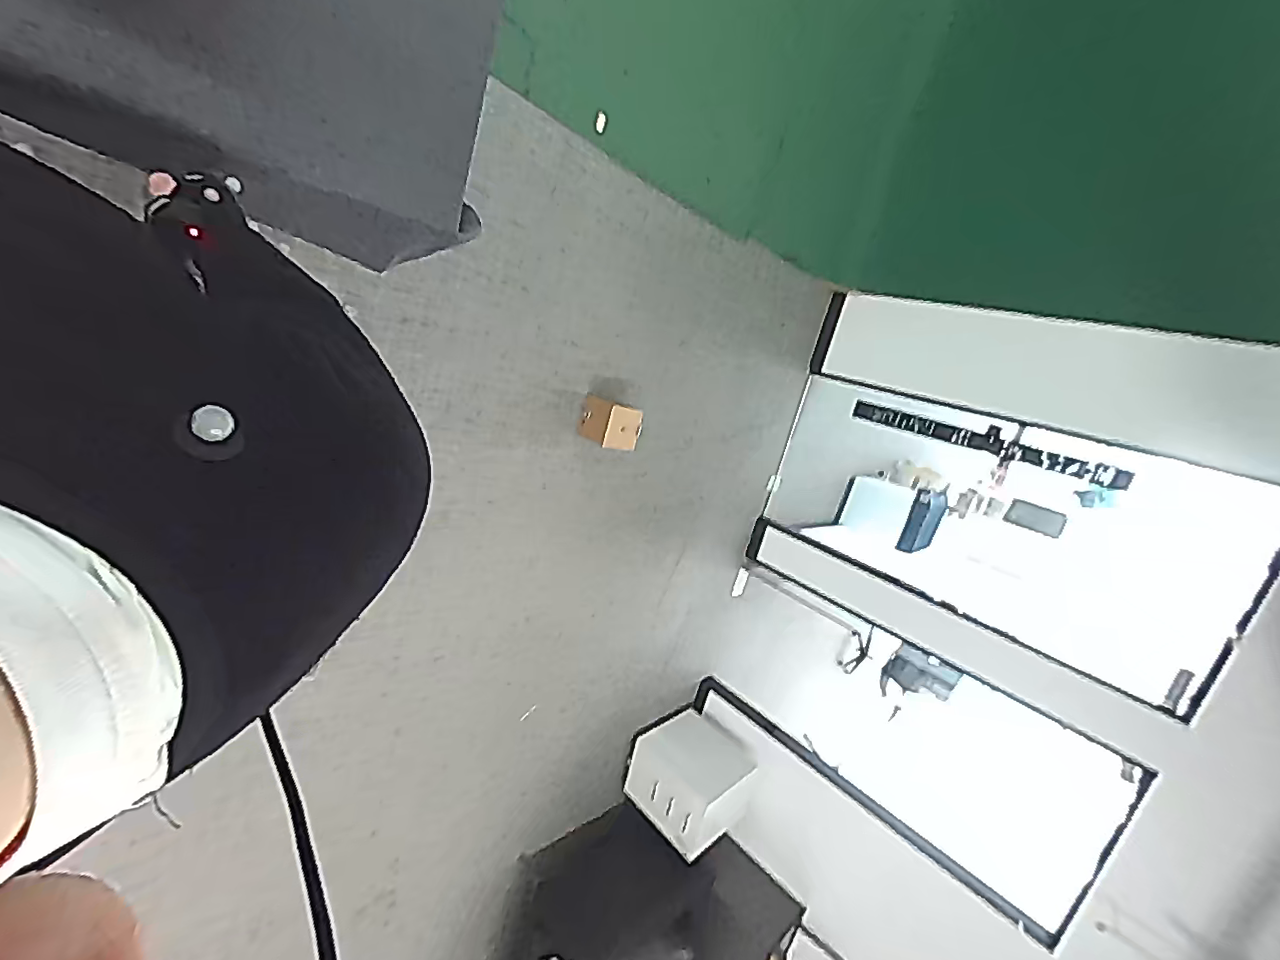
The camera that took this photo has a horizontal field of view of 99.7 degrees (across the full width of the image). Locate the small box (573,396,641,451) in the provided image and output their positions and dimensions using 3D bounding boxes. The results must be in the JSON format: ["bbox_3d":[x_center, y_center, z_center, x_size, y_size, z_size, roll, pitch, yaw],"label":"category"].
[{"bbox_3d":[-0.130,-0.221,2.101,0.179,0.176,0.168,6,104,-49],"label":"small box"}]
